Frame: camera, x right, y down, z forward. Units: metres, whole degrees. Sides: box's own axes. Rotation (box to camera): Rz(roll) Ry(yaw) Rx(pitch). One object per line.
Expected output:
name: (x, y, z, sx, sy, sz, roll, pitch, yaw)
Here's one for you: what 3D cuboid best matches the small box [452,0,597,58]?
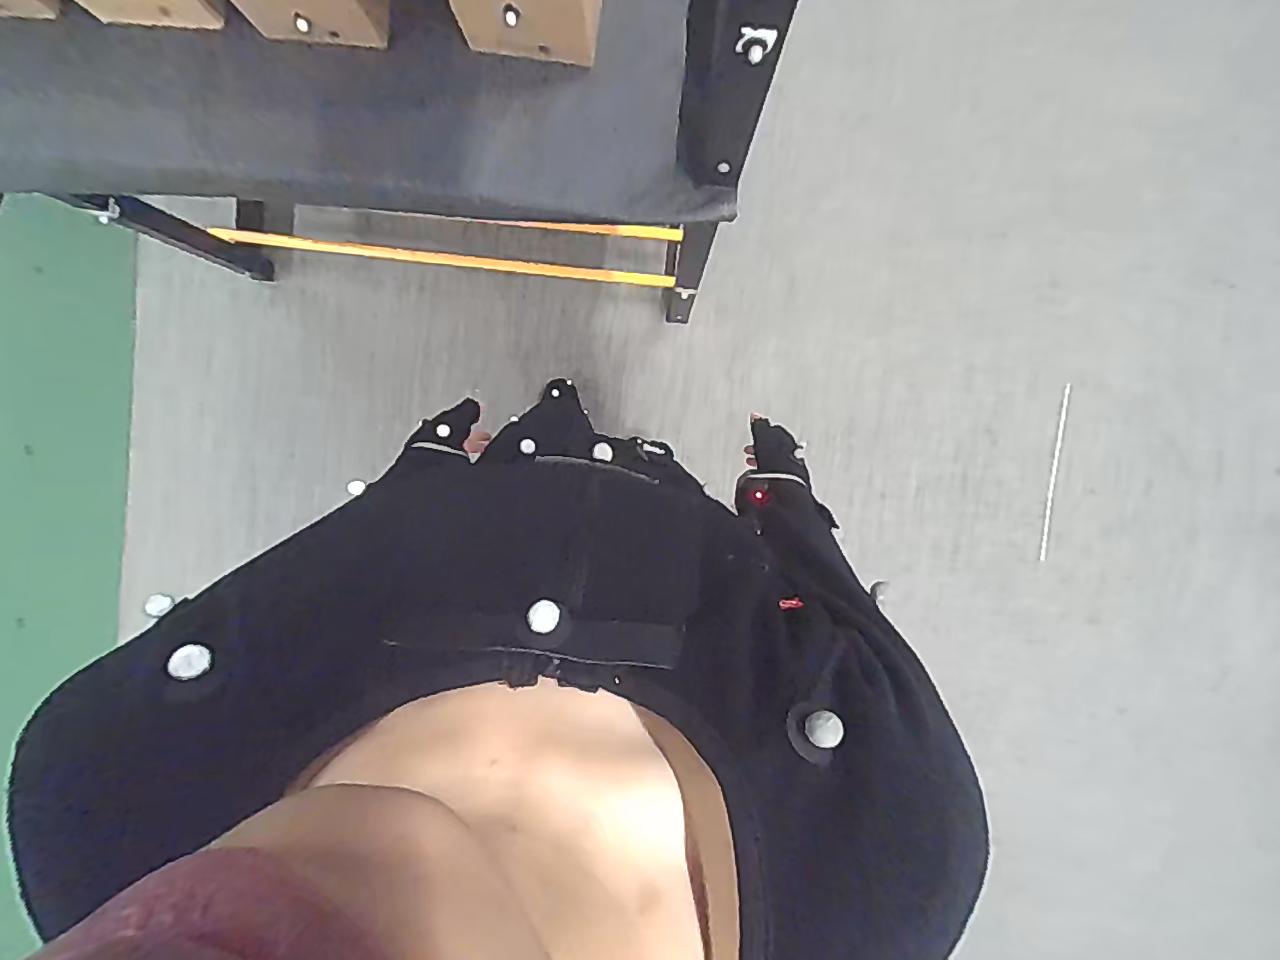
small box: (-0.134, -0.633, 0.617, 0.168, 0.176, 0.179, 9, 94, 0)
